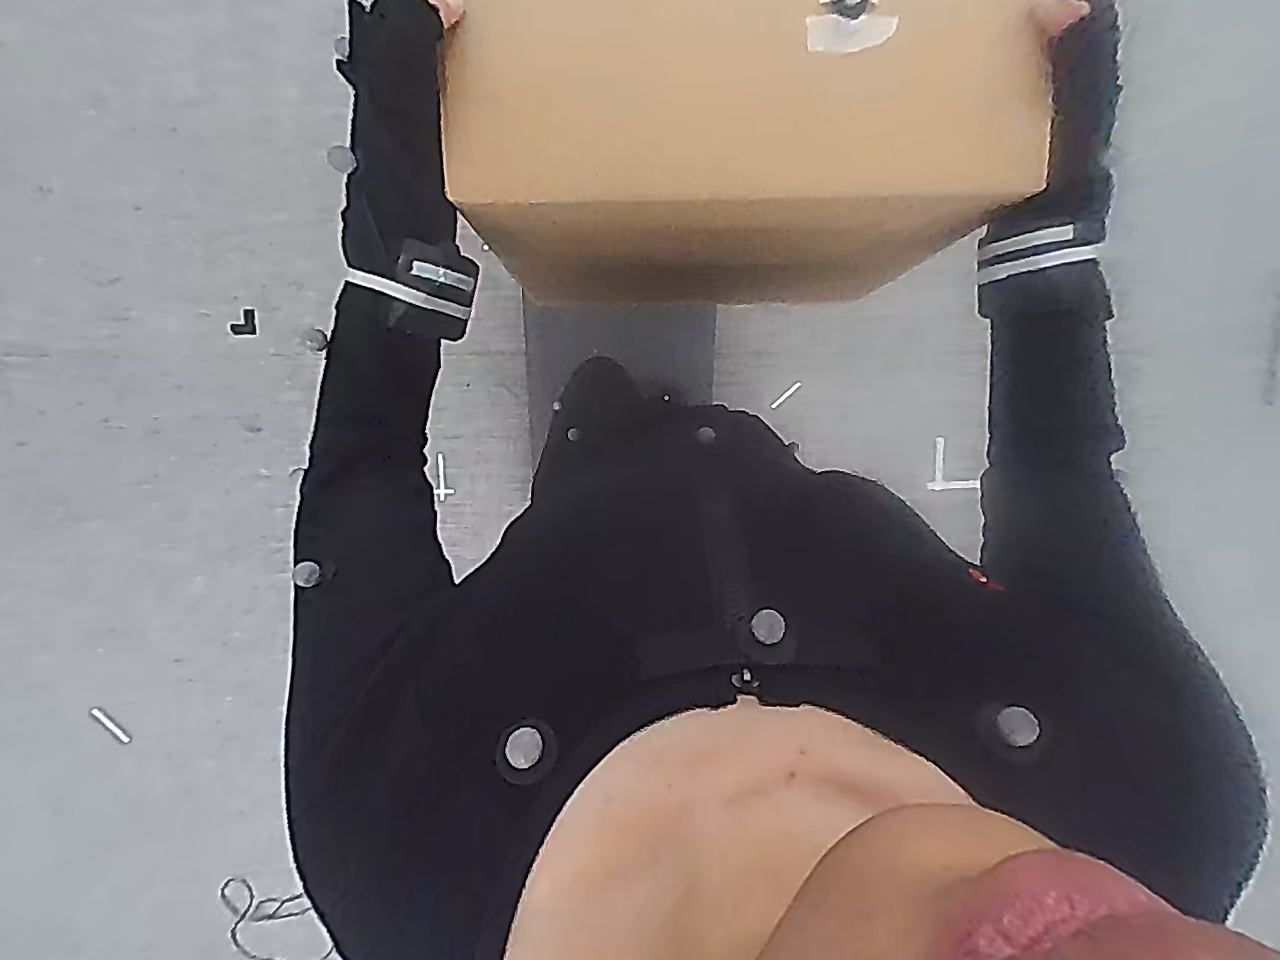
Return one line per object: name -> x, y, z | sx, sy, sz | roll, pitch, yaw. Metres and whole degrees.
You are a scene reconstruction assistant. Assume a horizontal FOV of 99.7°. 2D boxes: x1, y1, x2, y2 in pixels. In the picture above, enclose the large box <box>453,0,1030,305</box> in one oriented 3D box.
large box -> 0.066, -0.366, 0.518 | 0.408, 0.320, 0.320 | -1, 95, 0
